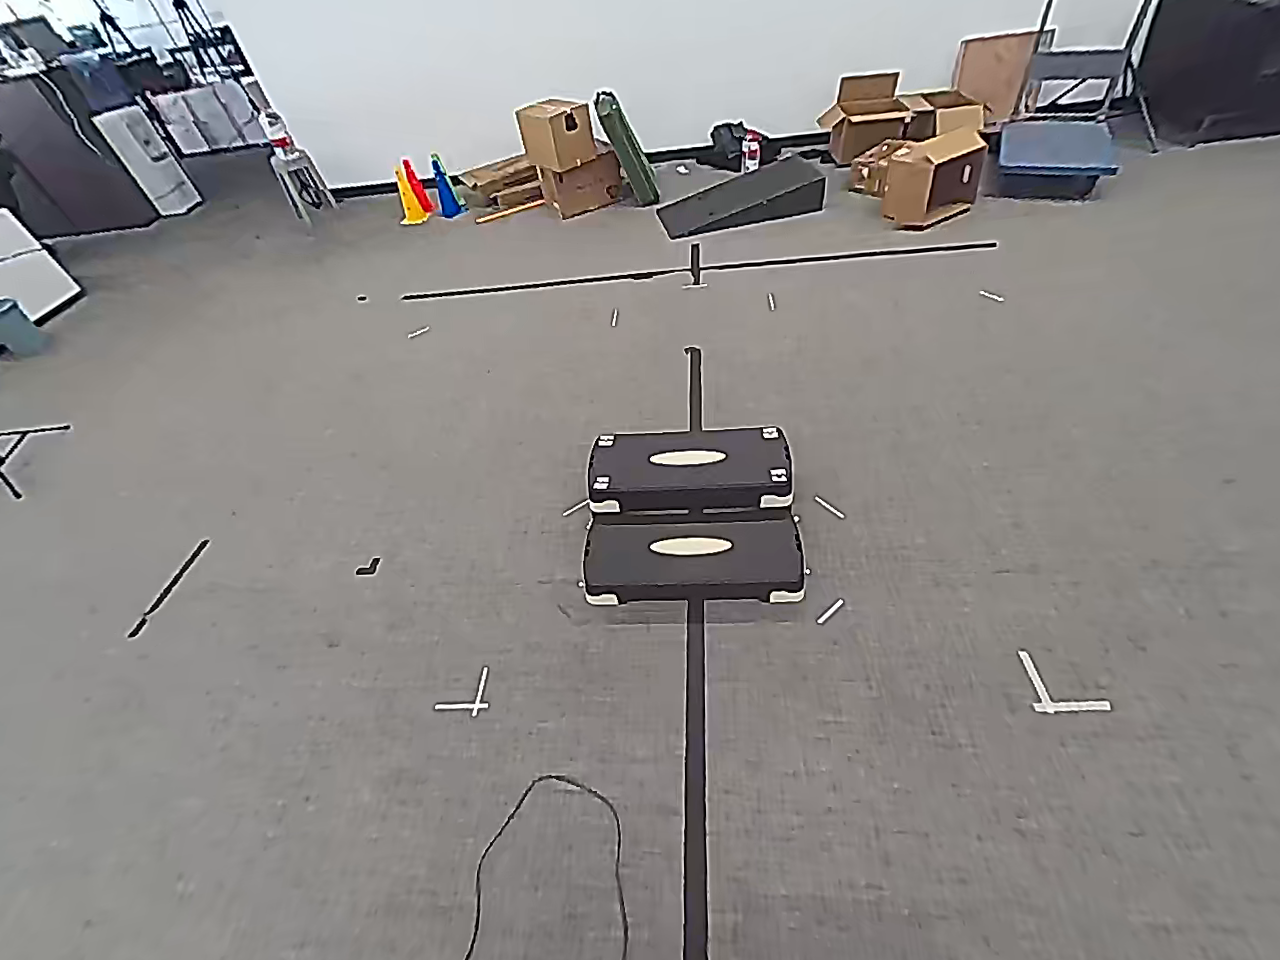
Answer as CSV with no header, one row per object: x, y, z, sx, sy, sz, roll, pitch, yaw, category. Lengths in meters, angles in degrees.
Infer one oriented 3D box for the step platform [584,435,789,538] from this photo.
0.151,0.018,1.834,0.684,0.204,0.286,-2,47,6,step platform
